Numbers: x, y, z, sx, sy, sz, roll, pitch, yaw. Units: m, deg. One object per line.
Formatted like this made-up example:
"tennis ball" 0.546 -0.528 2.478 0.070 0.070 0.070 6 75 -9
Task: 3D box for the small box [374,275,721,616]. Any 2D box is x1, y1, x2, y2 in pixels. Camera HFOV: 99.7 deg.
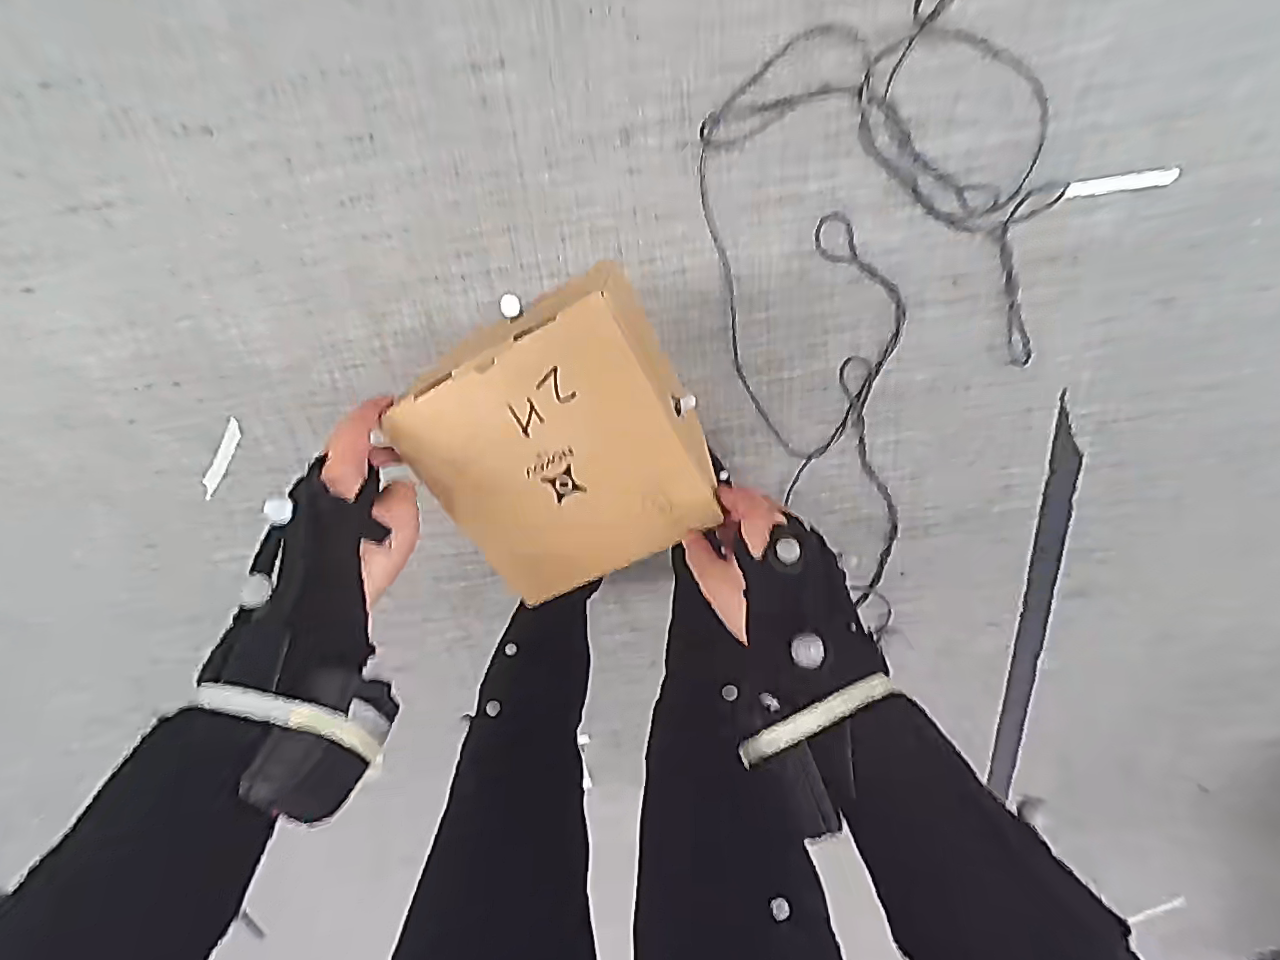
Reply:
"small box" -0.054 -0.035 0.420 0.168 0.176 0.179 -26 115 11
